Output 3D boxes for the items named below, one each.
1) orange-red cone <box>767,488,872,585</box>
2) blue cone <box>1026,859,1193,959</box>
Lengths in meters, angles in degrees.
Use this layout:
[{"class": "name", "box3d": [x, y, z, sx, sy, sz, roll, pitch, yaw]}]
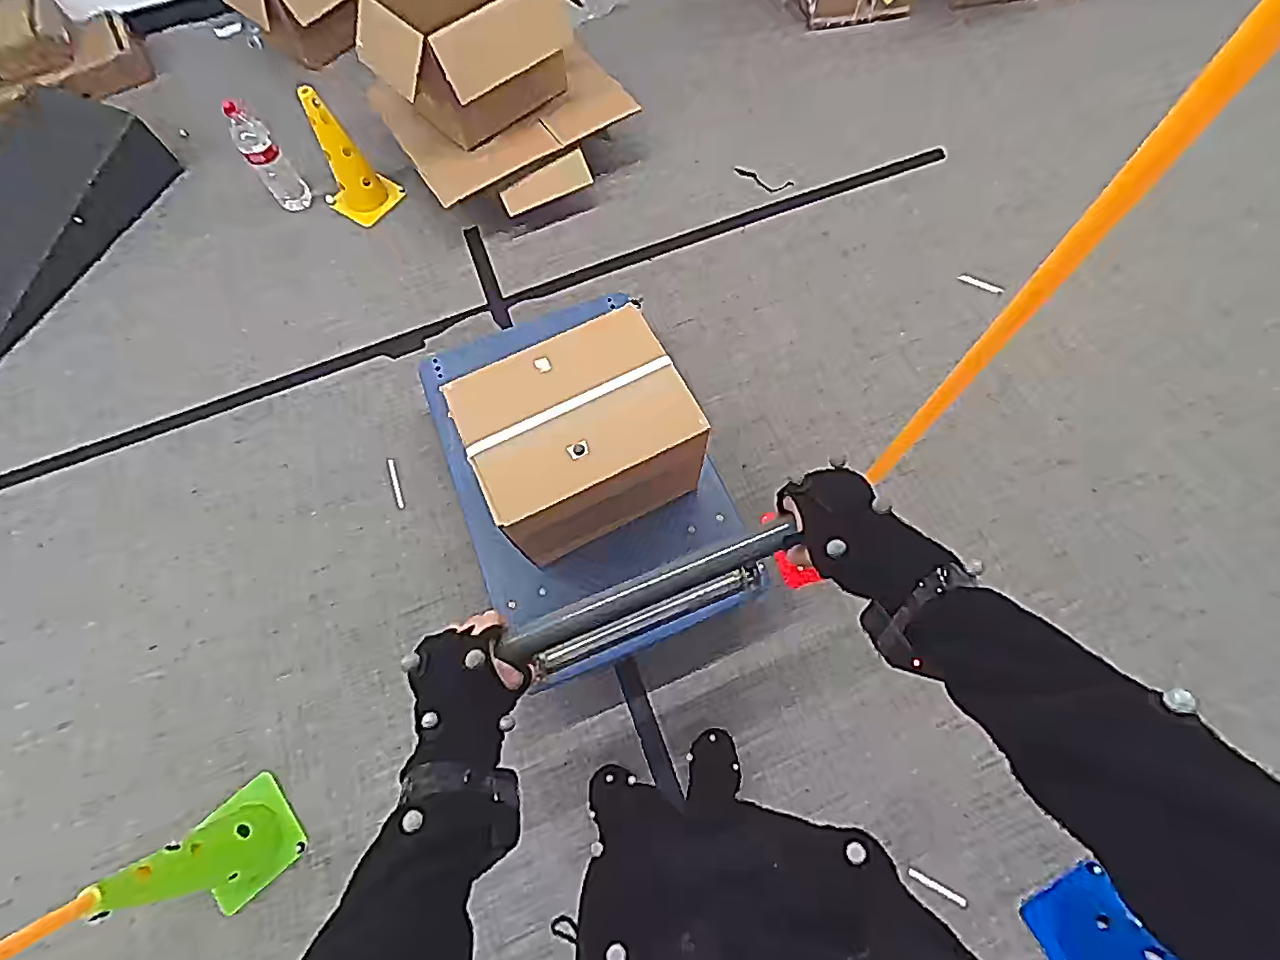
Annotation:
[{"class": "orange-red cone", "box3d": [0.433, 0.093, 1.204, 0.199, 0.360, 0.198, -15, 70, -5]}, {"class": "blue cone", "box3d": [0.886, 0.831, 0.920, 0.193, 0.380, 0.192, -25, 69, -8]}]
